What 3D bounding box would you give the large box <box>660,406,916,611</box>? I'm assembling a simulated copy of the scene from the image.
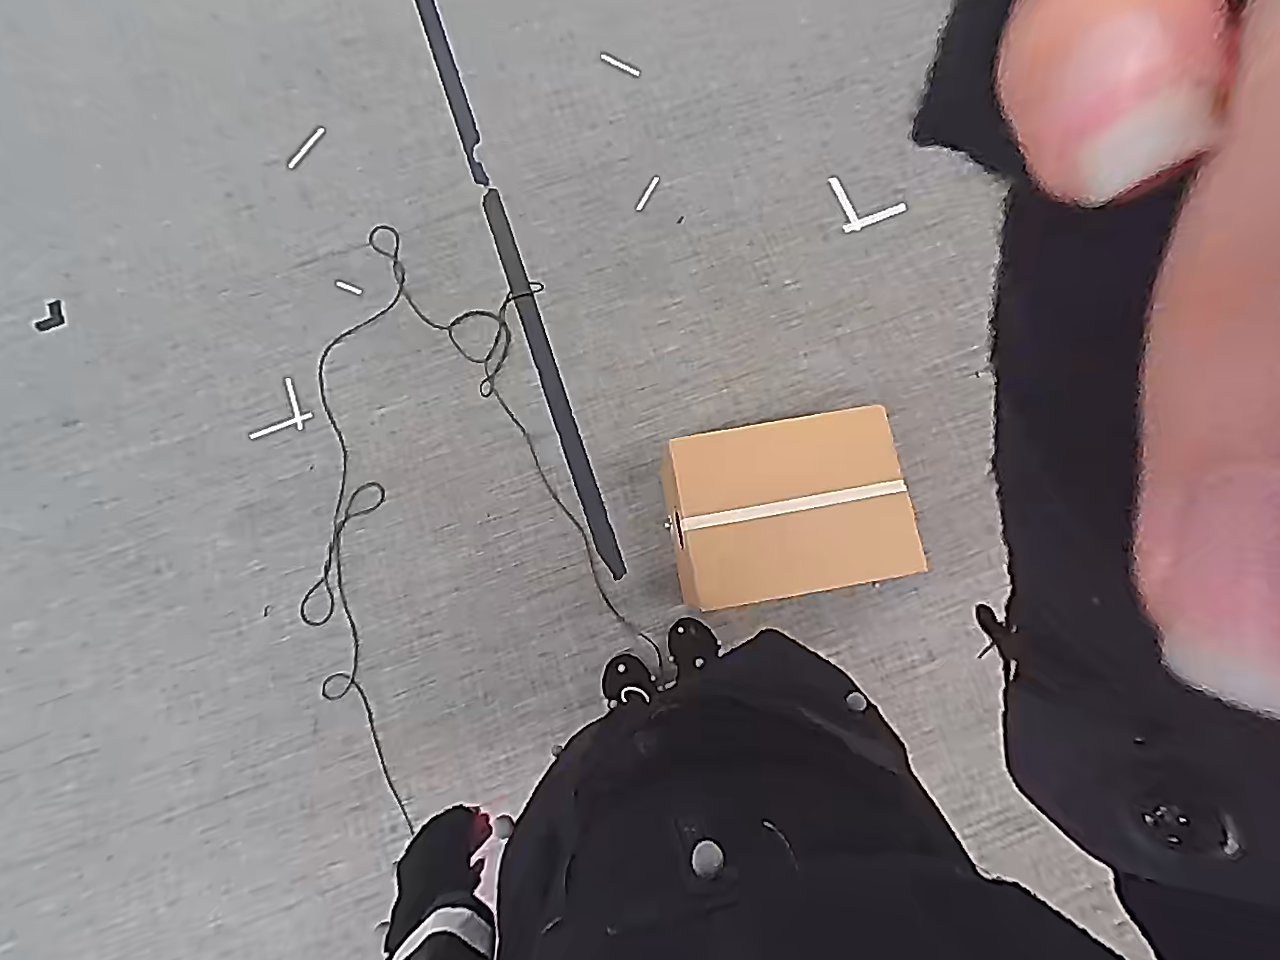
[{"bbox_3d":[0.269,0.069,1.115,0.408,0.320,0.320,-10,79,-2],"label":"large box"}]
